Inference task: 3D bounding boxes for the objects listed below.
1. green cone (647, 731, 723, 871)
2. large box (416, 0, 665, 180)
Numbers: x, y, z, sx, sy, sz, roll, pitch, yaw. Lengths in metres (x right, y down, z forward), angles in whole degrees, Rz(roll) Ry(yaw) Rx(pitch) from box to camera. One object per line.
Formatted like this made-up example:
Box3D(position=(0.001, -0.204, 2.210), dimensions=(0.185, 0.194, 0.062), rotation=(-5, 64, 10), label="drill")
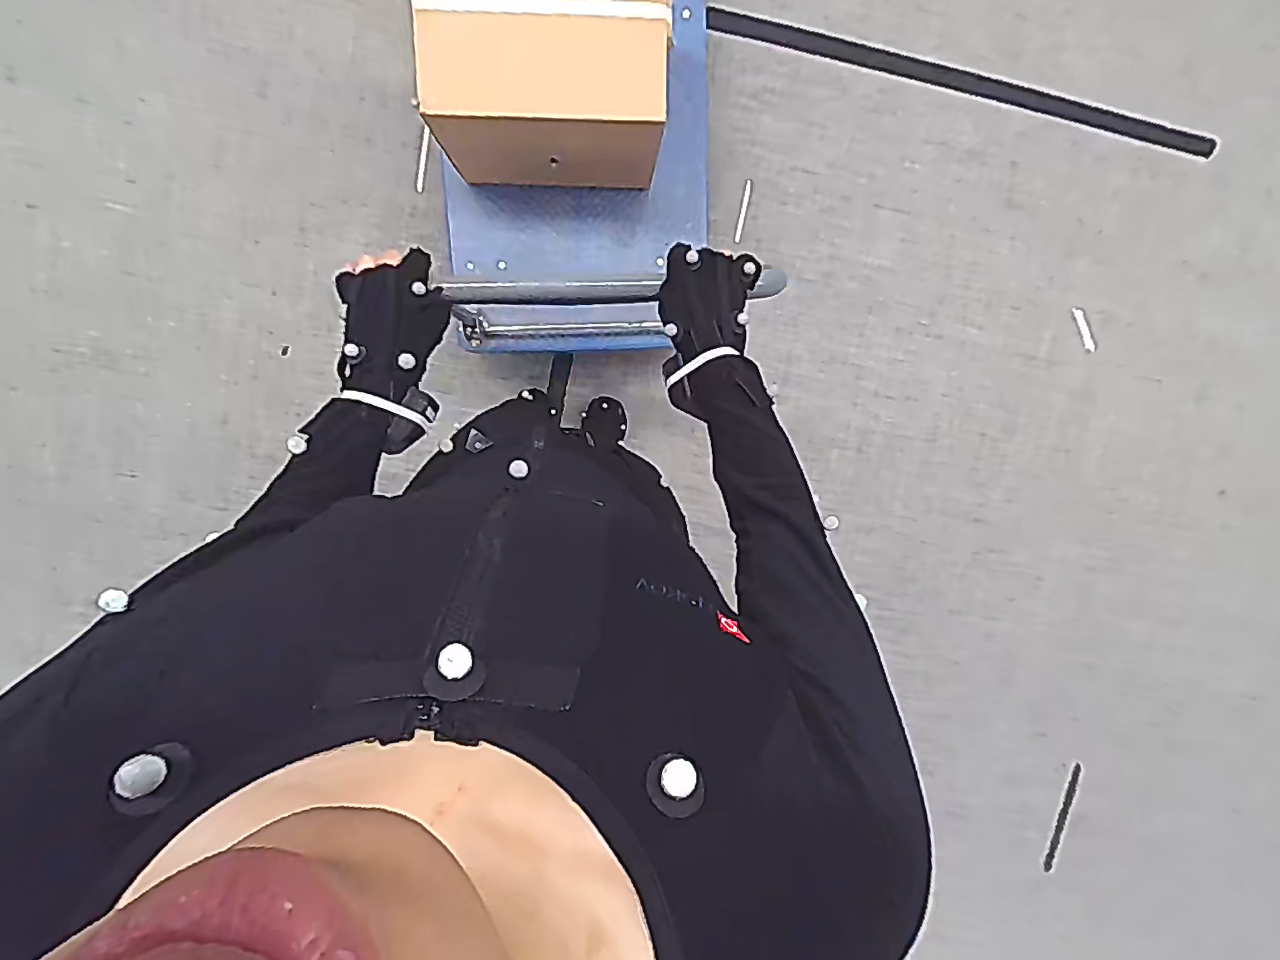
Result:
Box3D(position=(0.152, 0.885, 1.458), dimensions=(0.202, 0.368, 0.200), rotation=(14, 98, -7), label="green cone")
Box3D(position=(-0.166, -0.781, 1.018), dimensions=(0.408, 0.320, 0.320), rotation=(-1, 100, -3), label="large box")
